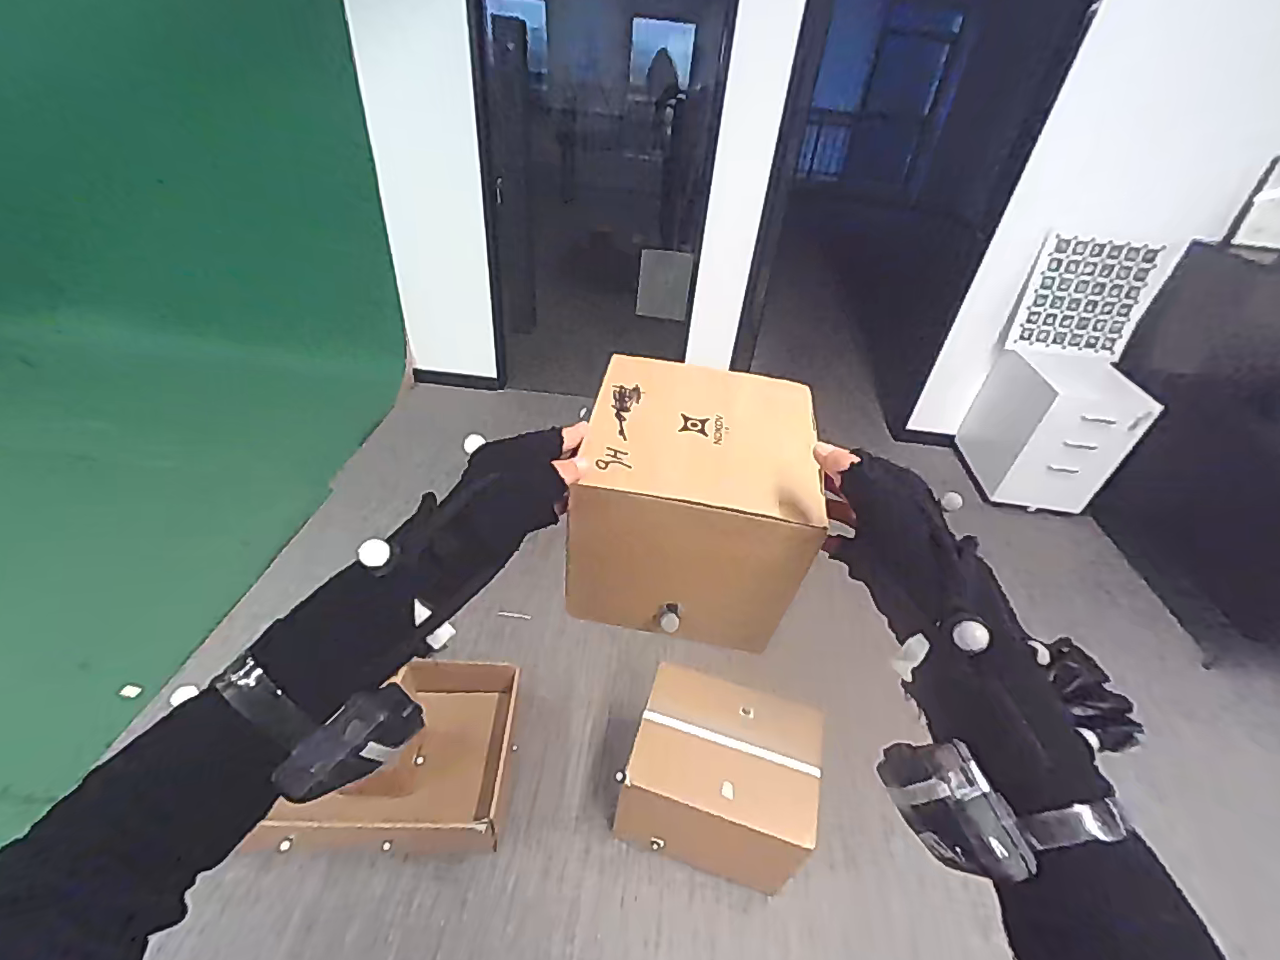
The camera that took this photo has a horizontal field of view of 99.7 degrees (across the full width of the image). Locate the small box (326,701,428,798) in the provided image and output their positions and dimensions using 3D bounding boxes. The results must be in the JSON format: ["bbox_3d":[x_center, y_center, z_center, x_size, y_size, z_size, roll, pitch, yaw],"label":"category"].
[{"bbox_3d":[-0.635,0.653,1.315,0.179,0.176,0.168,6,38,-4],"label":"small box"}]

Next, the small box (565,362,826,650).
[{"bbox_3d":[0.040,0.026,0.469,0.179,0.176,0.168,11,43,1],"label":"small box"}]

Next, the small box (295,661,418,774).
[{"bbox_3d":[-0.618,0.531,1.205,0.179,0.176,0.168,7,38,-2],"label":"small box"}]
